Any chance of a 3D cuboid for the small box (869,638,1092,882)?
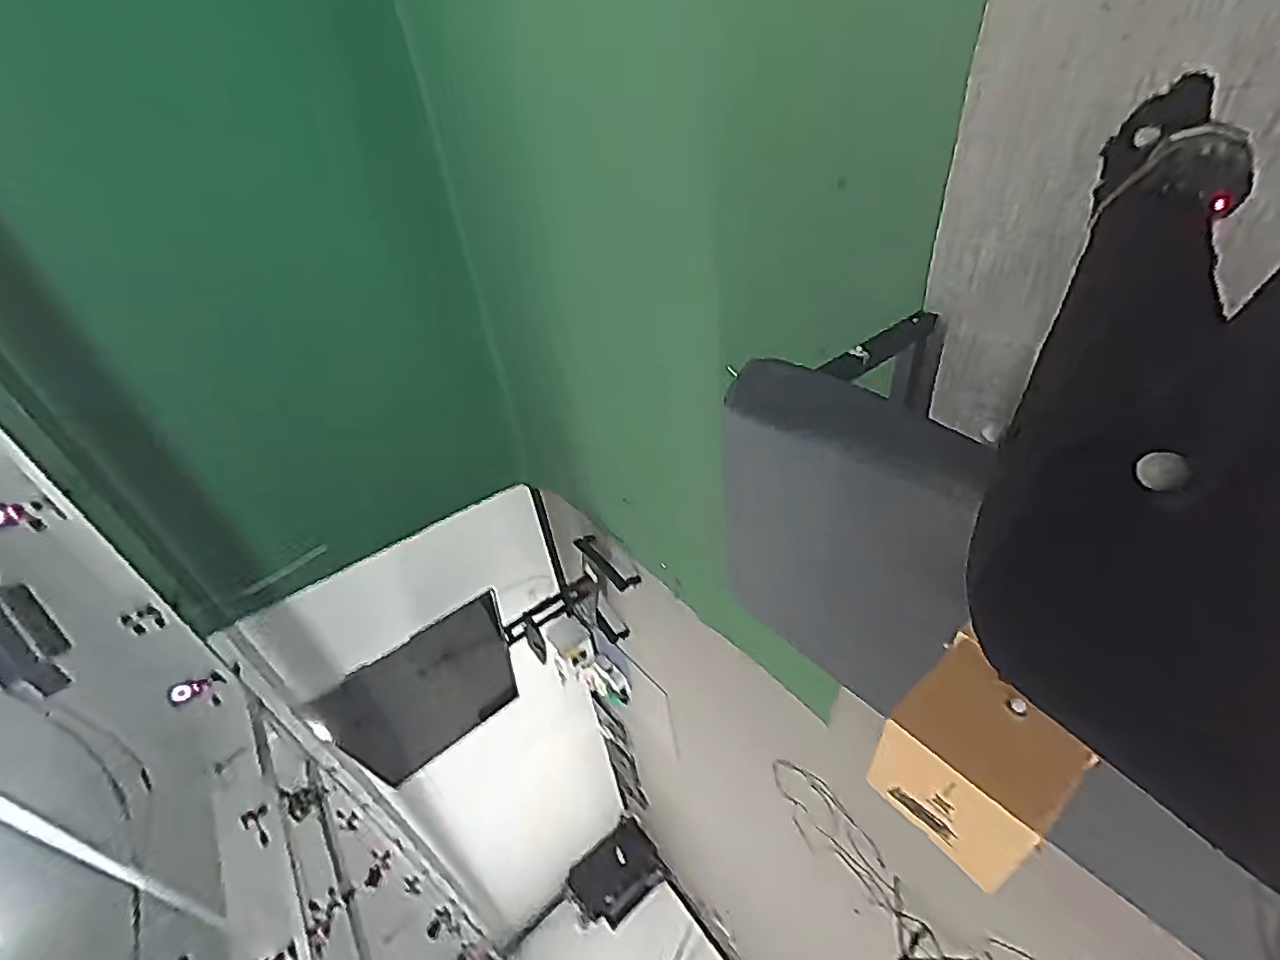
[{"bbox_3d":[0.414,0.339,0.675,0.168,0.176,0.179,34,146,45],"label":"small box"}]
